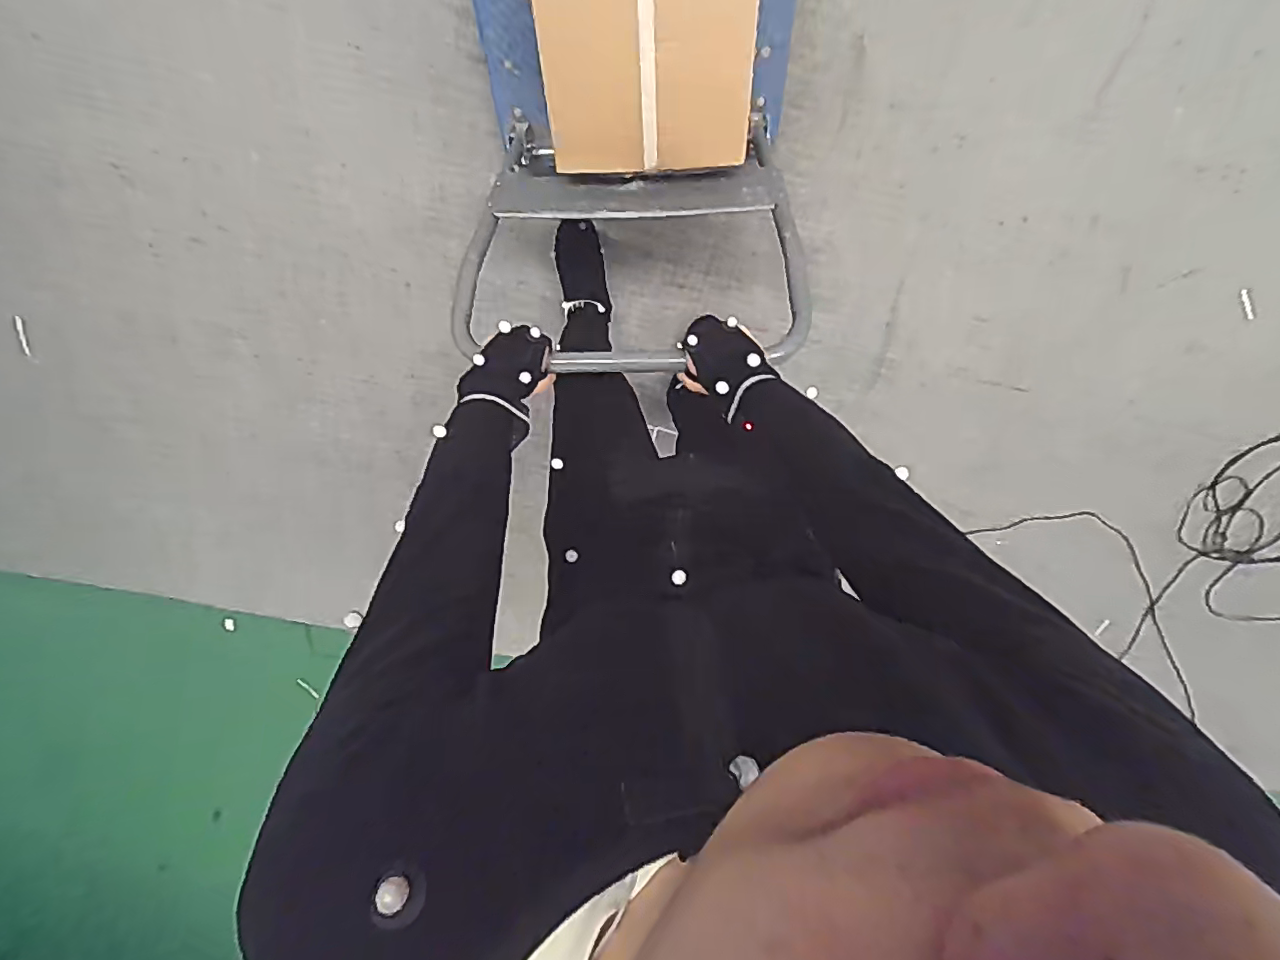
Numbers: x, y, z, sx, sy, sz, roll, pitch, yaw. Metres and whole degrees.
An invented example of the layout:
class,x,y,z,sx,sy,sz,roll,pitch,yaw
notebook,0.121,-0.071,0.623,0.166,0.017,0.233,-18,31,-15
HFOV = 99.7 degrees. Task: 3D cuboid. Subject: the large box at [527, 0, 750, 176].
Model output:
class,x,y,z,sx,sy,sz,roll,pitch,yaw
large box,0.004,-0.760,0.860,0.320,0.320,0.408,-2,137,4
